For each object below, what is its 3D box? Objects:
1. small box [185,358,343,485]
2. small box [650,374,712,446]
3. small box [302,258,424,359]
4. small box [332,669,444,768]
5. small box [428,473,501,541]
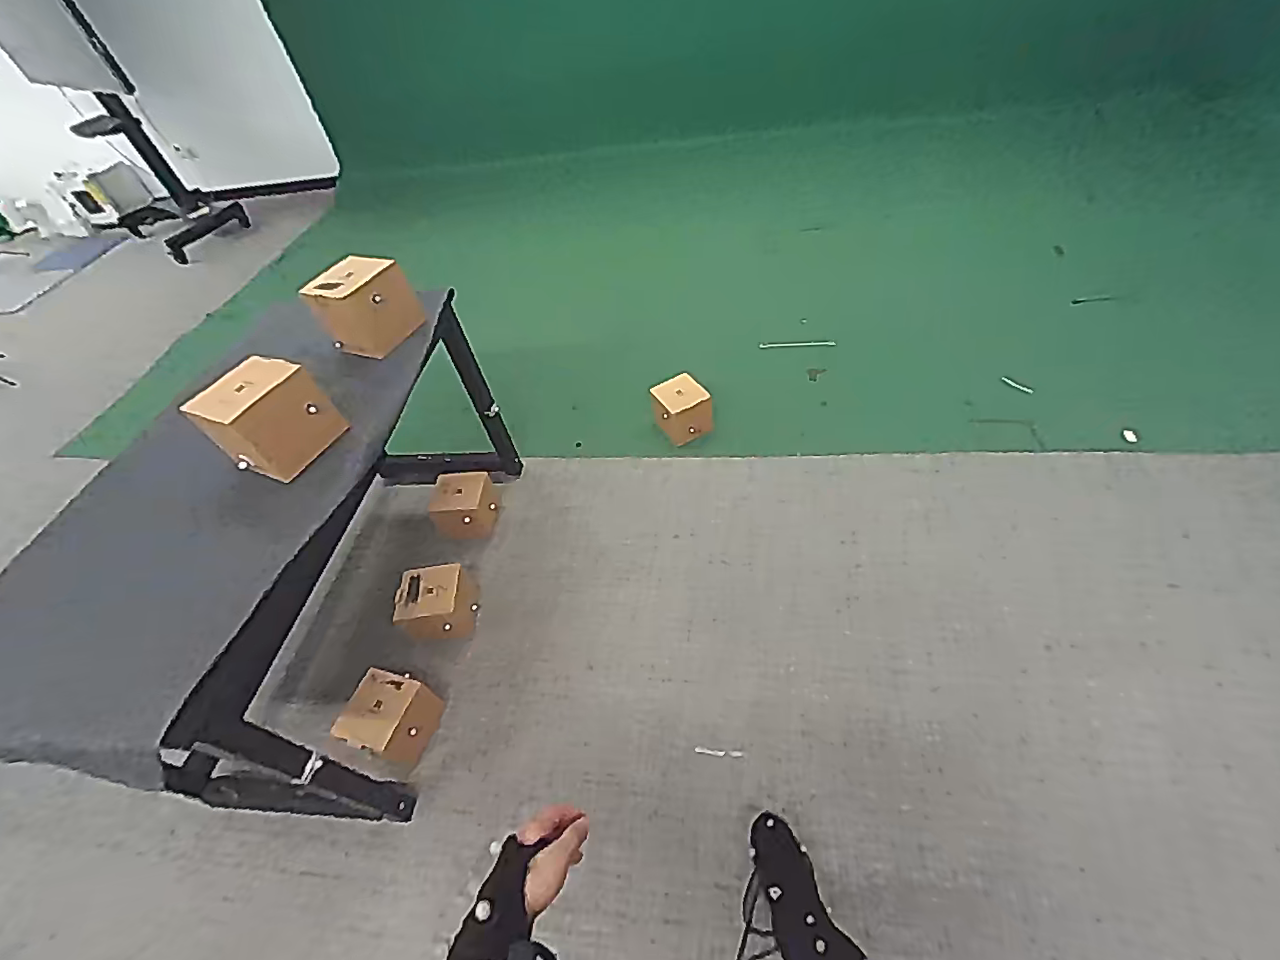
[{"bbox_3d":[-0.745,-0.119,1.098,0.168,0.176,0.179,14,55,24],"label":"small box"},{"bbox_3d":[0.156,-0.262,2.039,0.168,0.176,0.179,-27,51,-14],"label":"small box"},{"bbox_3d":[-0.676,-0.424,1.342,0.168,0.176,0.179,15,55,24],"label":"small box"},{"bbox_3d":[-0.644,0.625,1.409,0.168,0.176,0.179,9,52,17],"label":"small box"},{"bbox_3d":[-0.594,0.094,1.855,0.179,0.176,0.168,-4,48,6],"label":"small box"}]
